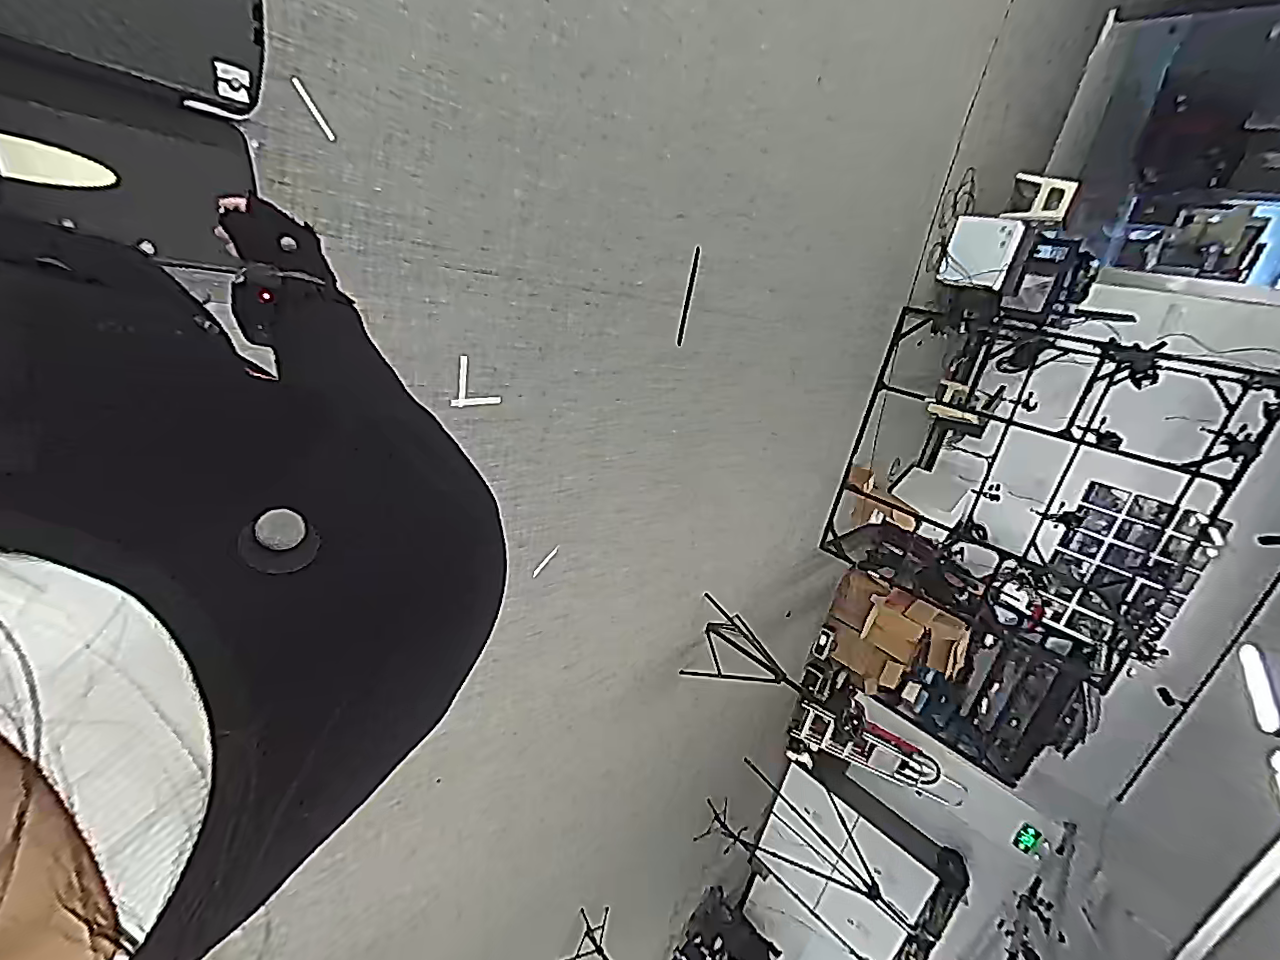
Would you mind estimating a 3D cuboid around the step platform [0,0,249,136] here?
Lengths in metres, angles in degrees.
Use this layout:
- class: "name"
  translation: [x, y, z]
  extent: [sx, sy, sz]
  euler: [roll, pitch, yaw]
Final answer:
- class: "step platform"
  translation: [-0.962, -0.735, 0.746]
  extent: [0.684, 0.204, 0.286]
  euler: [-12, 121, -47]
